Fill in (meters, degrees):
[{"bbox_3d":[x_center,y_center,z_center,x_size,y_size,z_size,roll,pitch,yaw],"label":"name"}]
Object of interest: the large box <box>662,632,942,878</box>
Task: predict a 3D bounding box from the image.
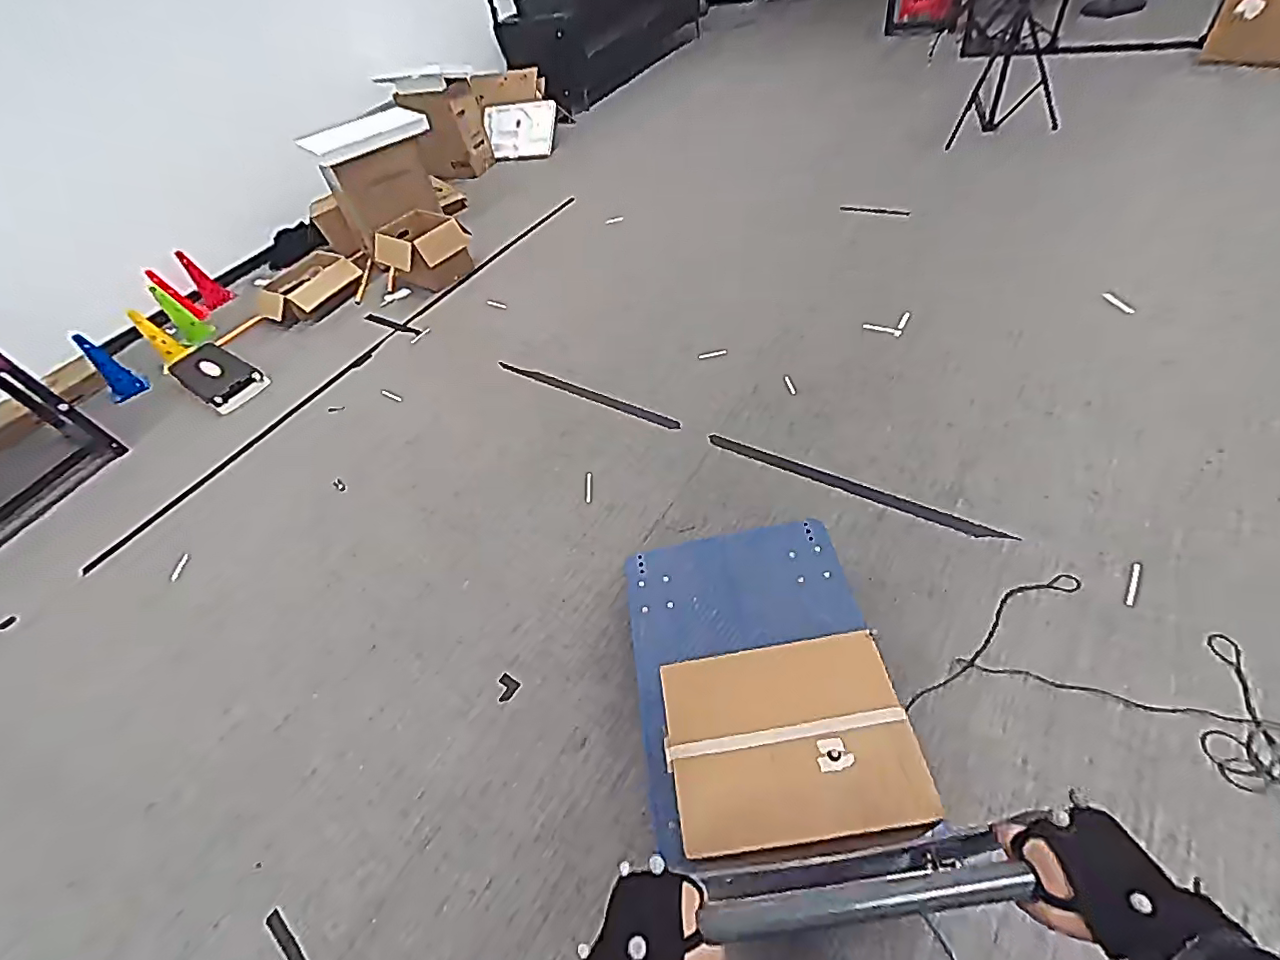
[{"bbox_3d":[0.277,0.536,1.042,0.408,0.320,0.320,-11,49,3],"label":"large box"}]
